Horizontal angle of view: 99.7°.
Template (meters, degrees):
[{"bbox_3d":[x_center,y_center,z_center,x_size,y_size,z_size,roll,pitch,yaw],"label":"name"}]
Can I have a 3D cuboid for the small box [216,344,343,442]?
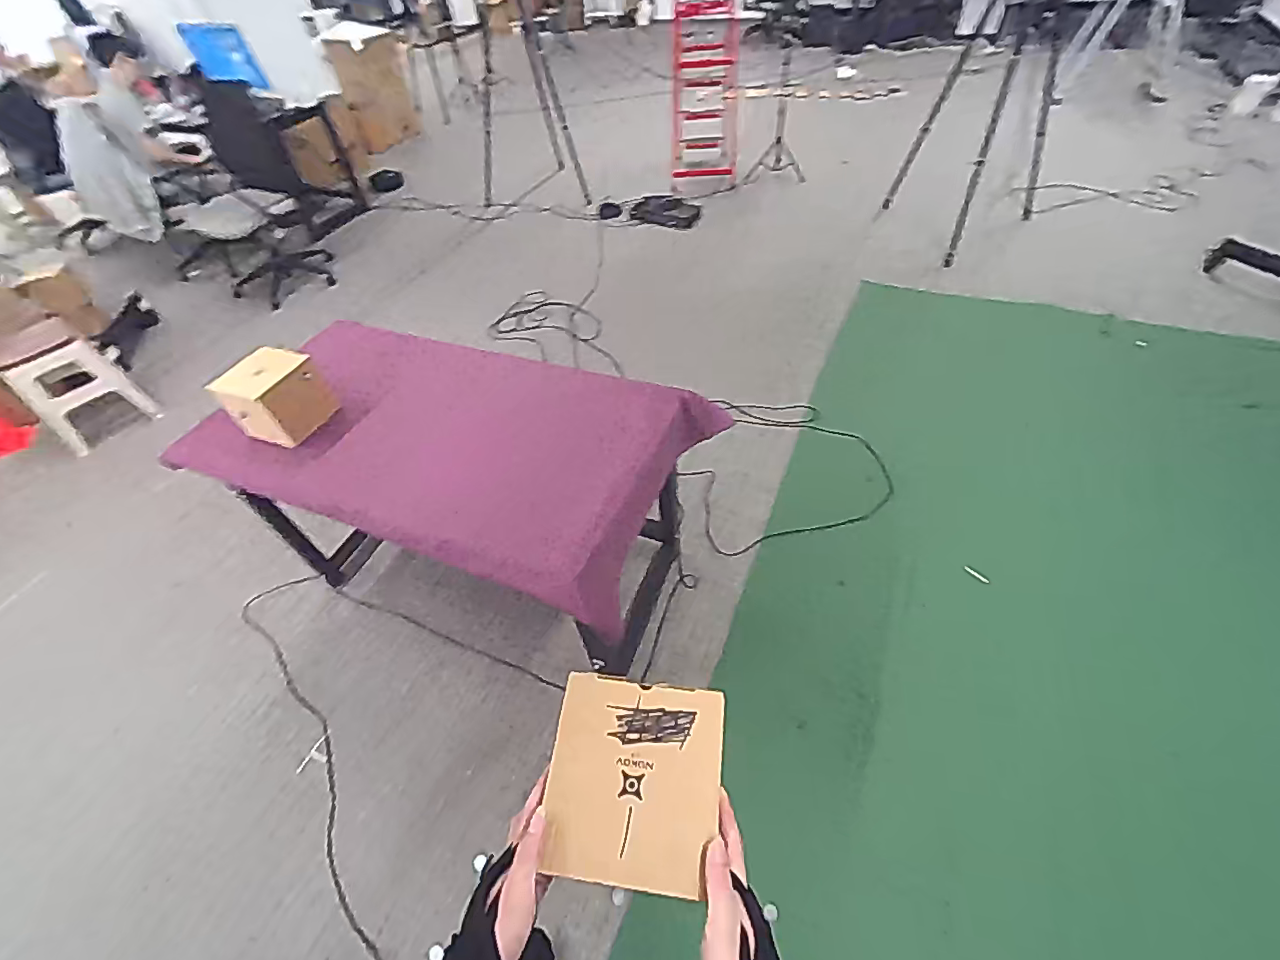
[{"bbox_3d":[-0.911,-0.221,1.387,0.168,0.176,0.179,14,51,18],"label":"small box"}]

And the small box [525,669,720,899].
[{"bbox_3d":[-0.009,0.324,0.579,0.168,0.176,0.179,5,56,6],"label":"small box"}]
